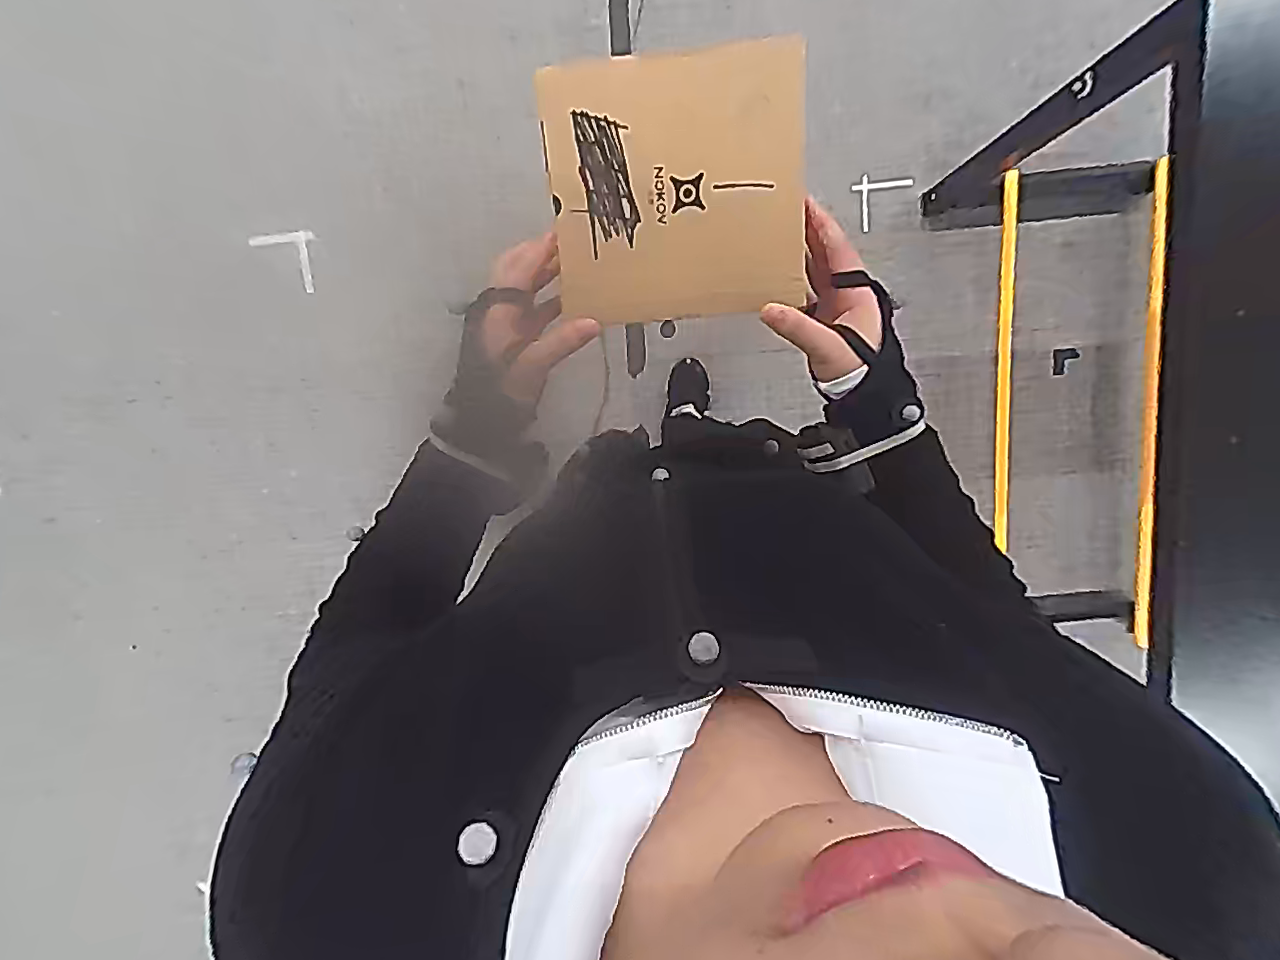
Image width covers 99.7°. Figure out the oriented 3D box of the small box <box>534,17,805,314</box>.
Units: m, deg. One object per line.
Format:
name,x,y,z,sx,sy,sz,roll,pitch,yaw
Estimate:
small box,0.028,-0.227,0.441,0.179,0.176,0.168,-4,107,4
